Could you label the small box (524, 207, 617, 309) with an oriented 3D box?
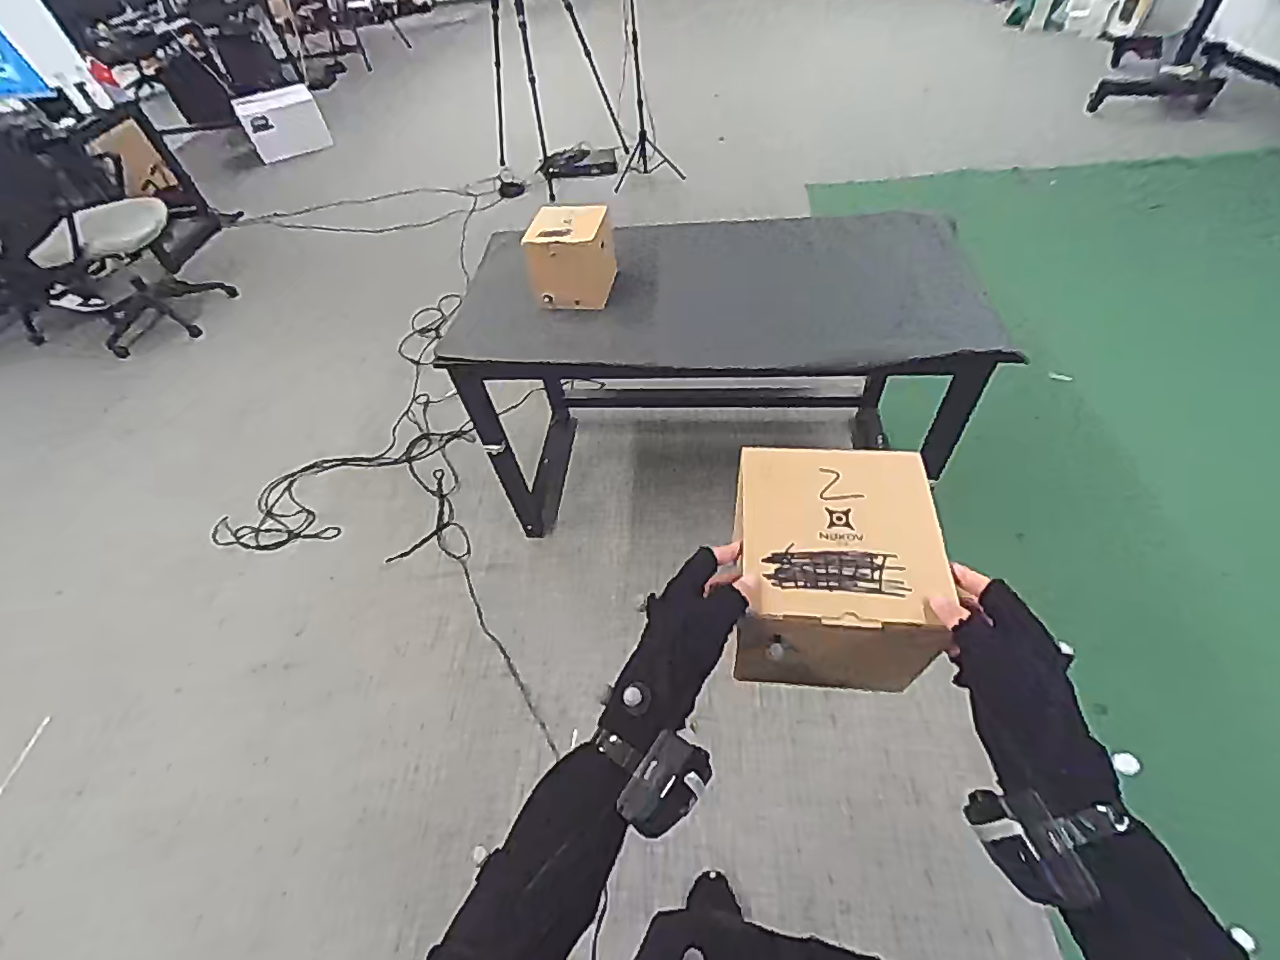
[{"bbox_3d":[-0.155,-0.525,1.288,0.168,0.176,0.179,4,51,10],"label":"small box"}]
